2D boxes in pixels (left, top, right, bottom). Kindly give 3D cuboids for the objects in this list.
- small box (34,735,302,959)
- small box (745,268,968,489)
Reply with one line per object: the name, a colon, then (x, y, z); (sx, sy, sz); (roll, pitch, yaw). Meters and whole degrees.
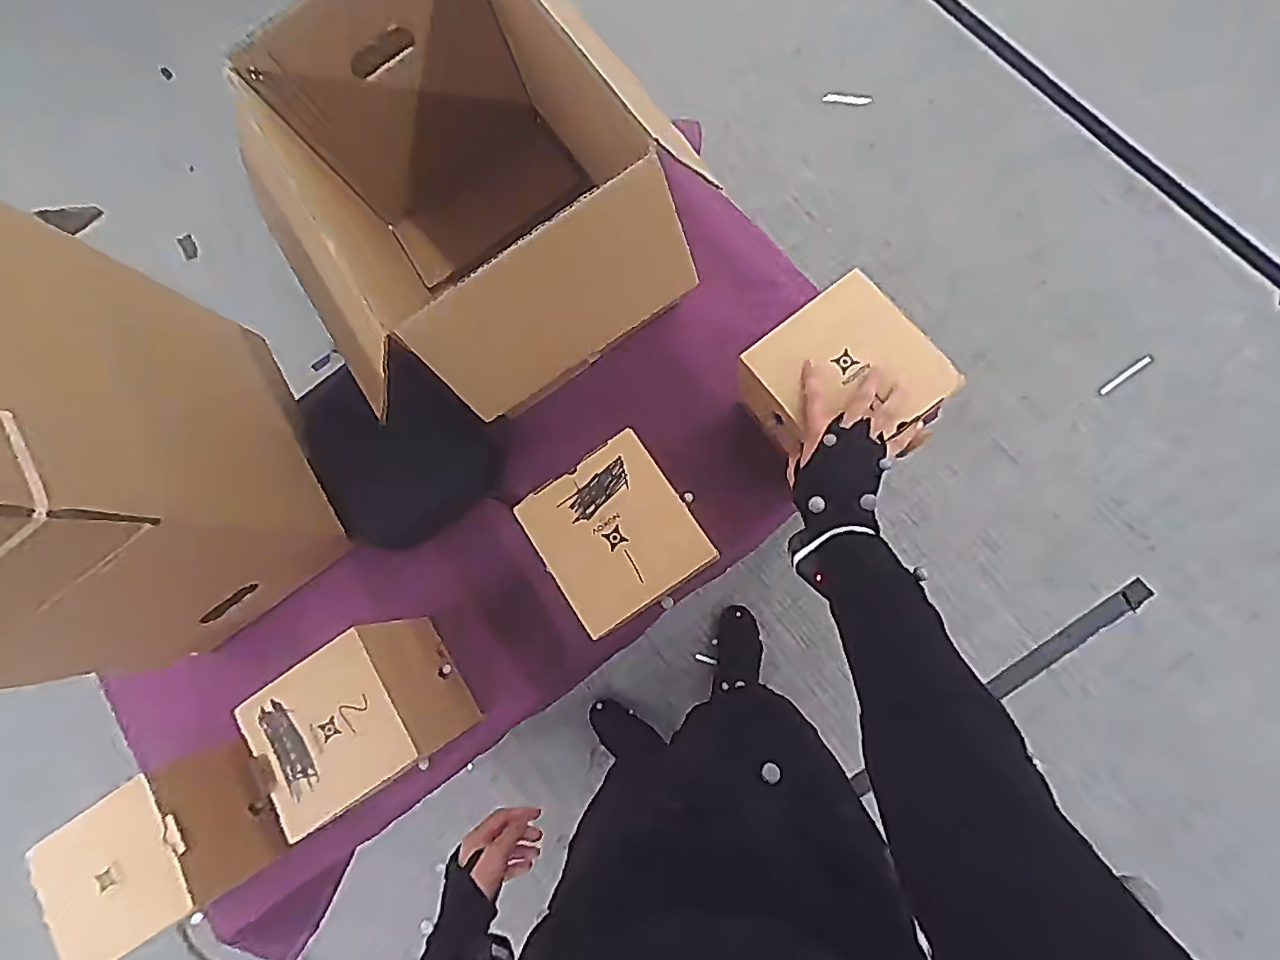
small box: (-0.590, 0.465, 0.695); (0.179, 0.176, 0.168); (-34, 77, 1)
small box: (0.241, -0.109, 0.660); (0.168, 0.176, 0.179); (-37, 77, 3)
